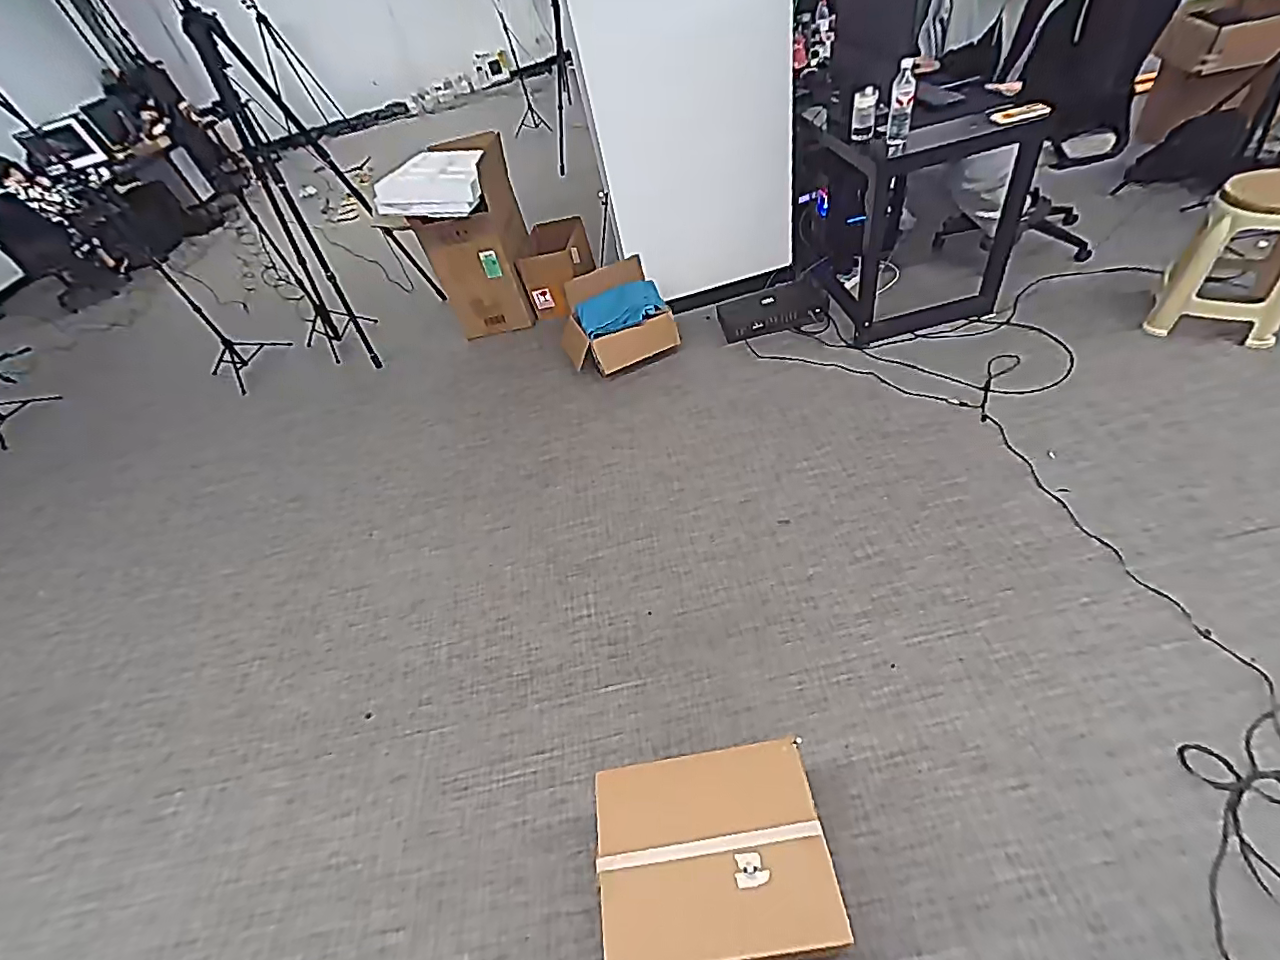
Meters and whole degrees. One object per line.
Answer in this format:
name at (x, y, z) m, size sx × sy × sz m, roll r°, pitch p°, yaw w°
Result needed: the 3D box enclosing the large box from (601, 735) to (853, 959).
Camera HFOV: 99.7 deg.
large box at (0.157, 0.753, 1.075) m, size 0.408 × 0.320 × 0.320 m, roll -12°, pitch 46°, yaw 4°
